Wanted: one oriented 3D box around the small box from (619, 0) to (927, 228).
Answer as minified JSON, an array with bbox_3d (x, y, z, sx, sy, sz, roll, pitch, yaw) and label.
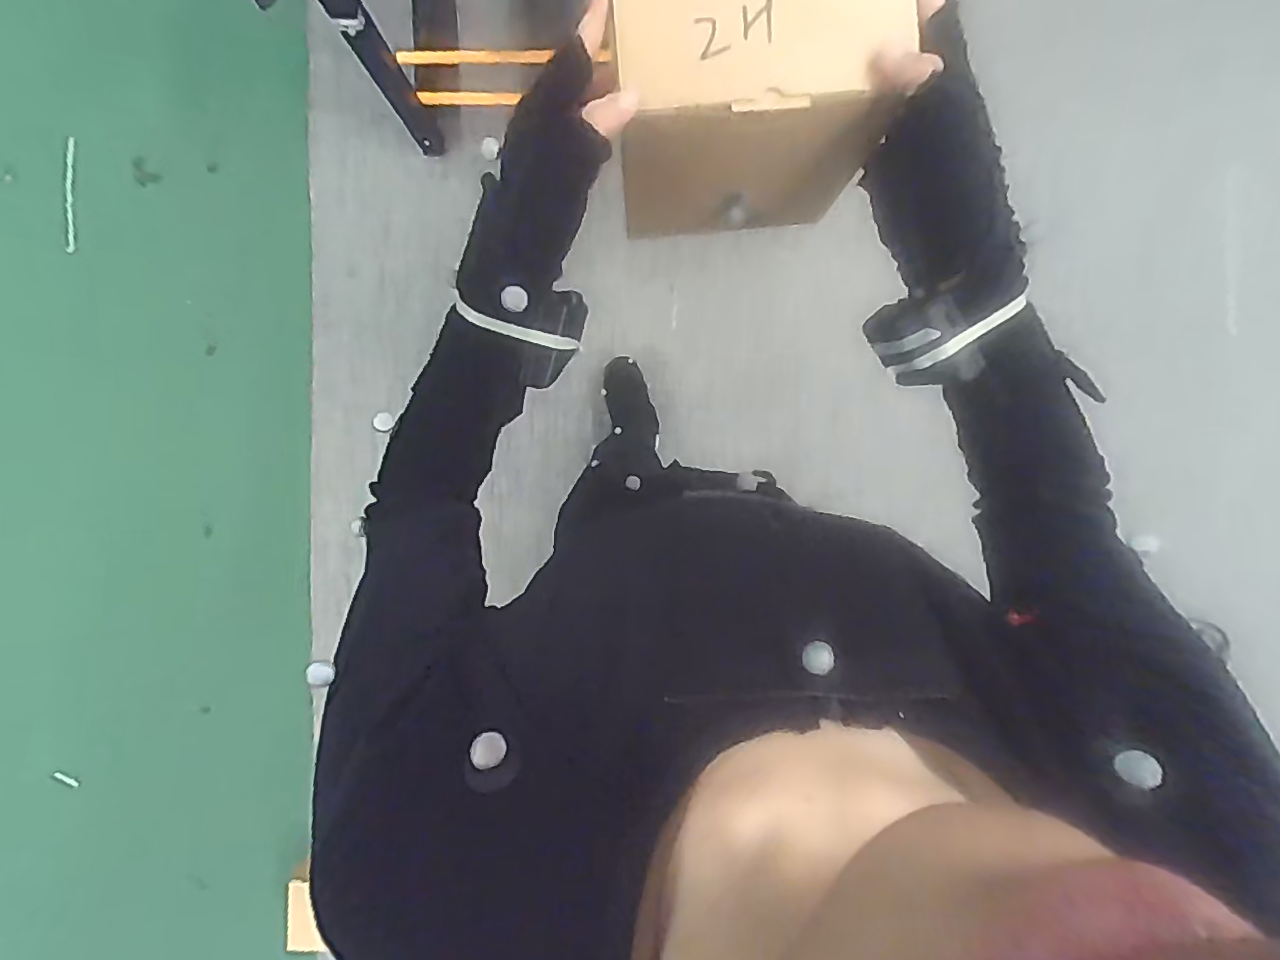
[{"bbox_3d":[0.070,-0.304,0.376,0.168,0.176,0.179,-4,91,0],"label":"small box"}]
